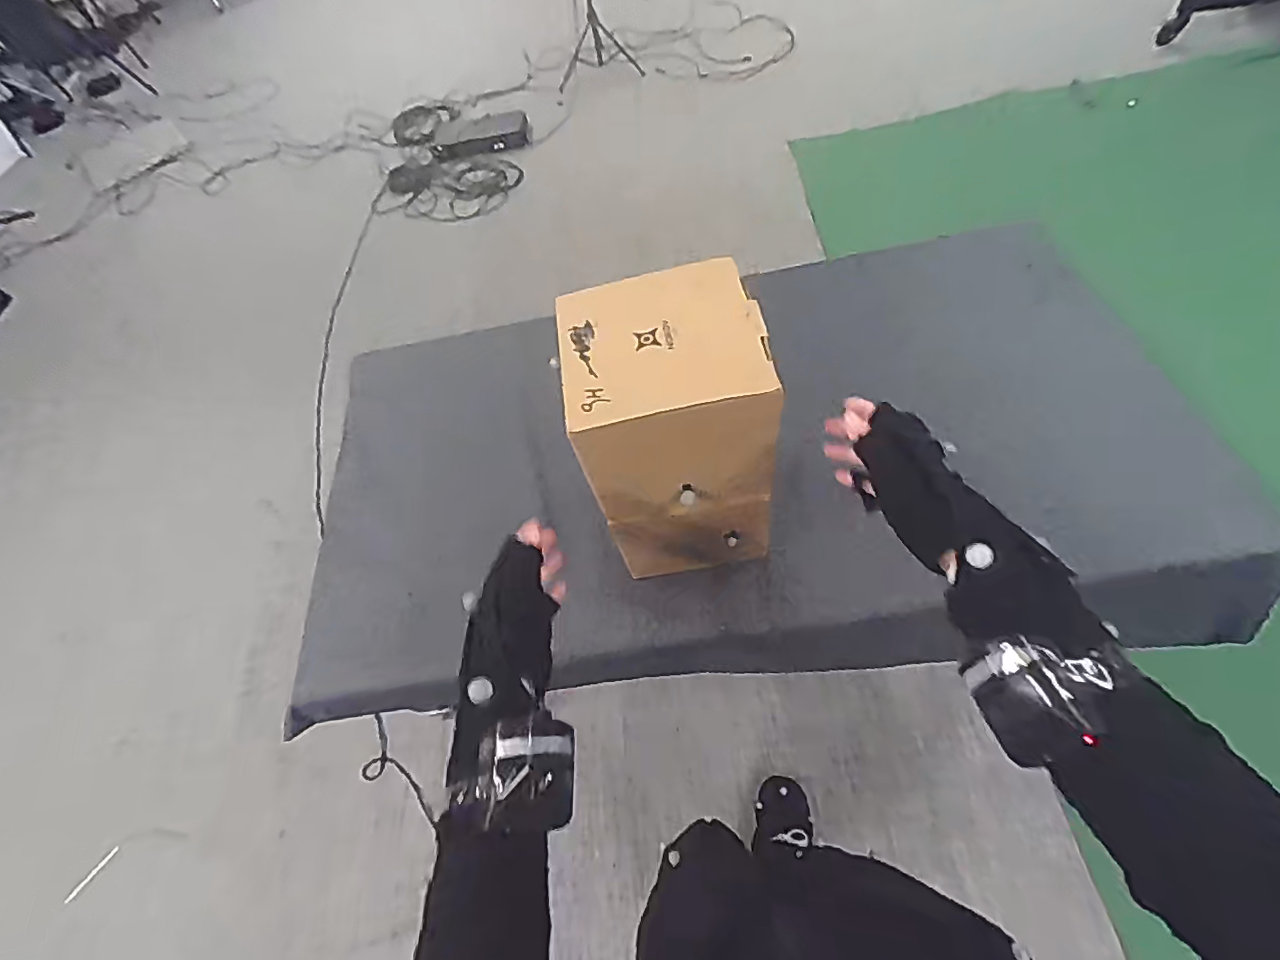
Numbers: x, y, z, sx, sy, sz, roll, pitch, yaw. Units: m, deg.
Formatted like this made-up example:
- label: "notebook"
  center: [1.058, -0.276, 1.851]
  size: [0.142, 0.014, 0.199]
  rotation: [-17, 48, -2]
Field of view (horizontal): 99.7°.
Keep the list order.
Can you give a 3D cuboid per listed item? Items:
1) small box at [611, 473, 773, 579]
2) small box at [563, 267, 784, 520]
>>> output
- label: "small box"
  center: [0.058, 0.009, 0.678]
  size: [0.179, 0.176, 0.168]
  rotation: [-11, 58, 5]
- label: "small box"
  center: [0.030, -0.078, 0.540]
  size: [0.179, 0.176, 0.168]
  rotation: [-10, 57, 3]
